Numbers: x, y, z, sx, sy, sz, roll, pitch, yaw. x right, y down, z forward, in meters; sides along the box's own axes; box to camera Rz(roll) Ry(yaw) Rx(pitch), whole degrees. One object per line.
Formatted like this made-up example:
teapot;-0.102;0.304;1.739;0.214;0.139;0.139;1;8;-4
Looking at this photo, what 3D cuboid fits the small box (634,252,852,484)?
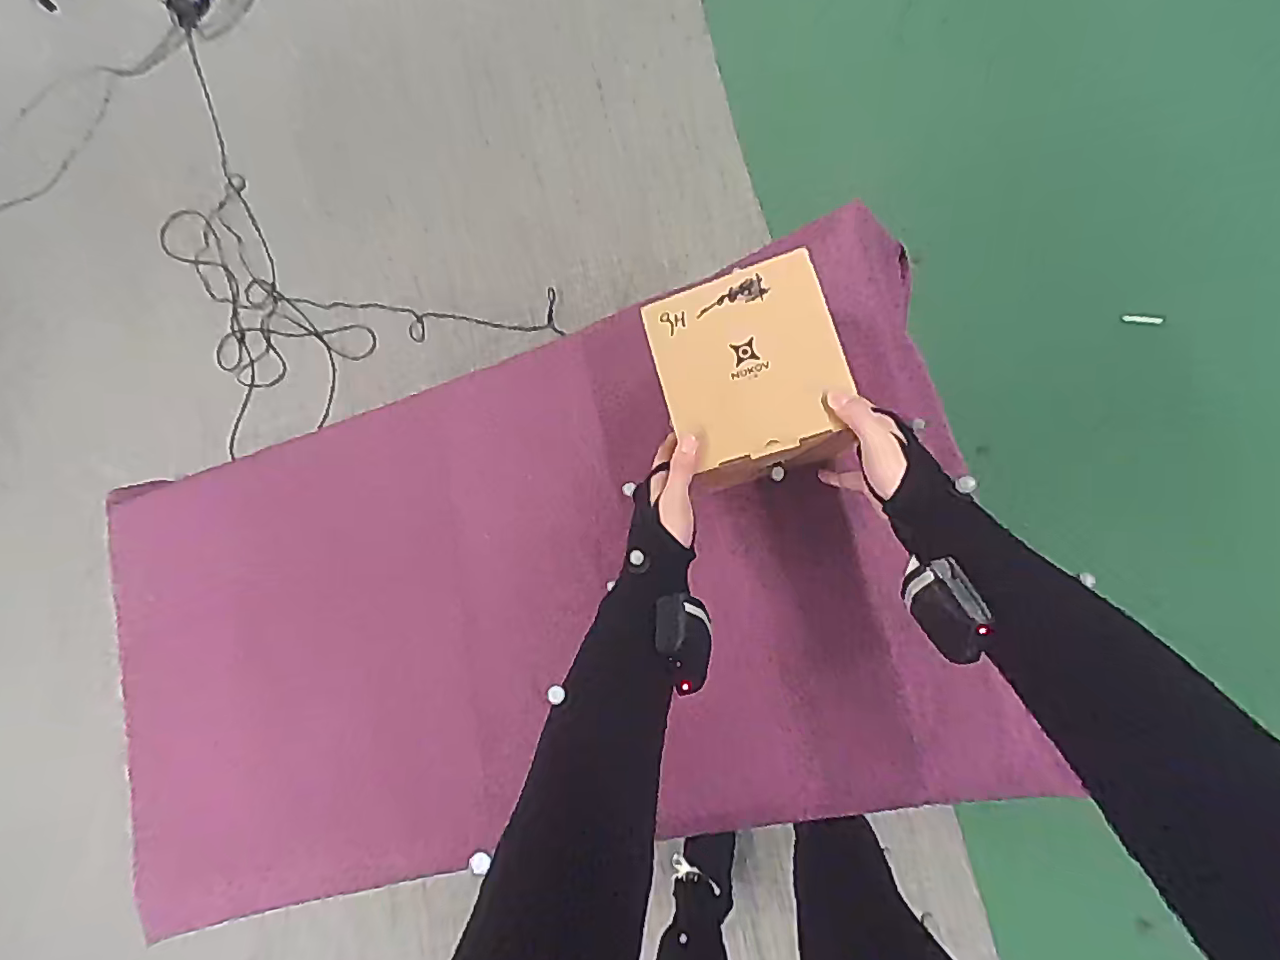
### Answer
small box;0.110;-0.099;0.577;0.168;0.176;0.179;-17;80;12
